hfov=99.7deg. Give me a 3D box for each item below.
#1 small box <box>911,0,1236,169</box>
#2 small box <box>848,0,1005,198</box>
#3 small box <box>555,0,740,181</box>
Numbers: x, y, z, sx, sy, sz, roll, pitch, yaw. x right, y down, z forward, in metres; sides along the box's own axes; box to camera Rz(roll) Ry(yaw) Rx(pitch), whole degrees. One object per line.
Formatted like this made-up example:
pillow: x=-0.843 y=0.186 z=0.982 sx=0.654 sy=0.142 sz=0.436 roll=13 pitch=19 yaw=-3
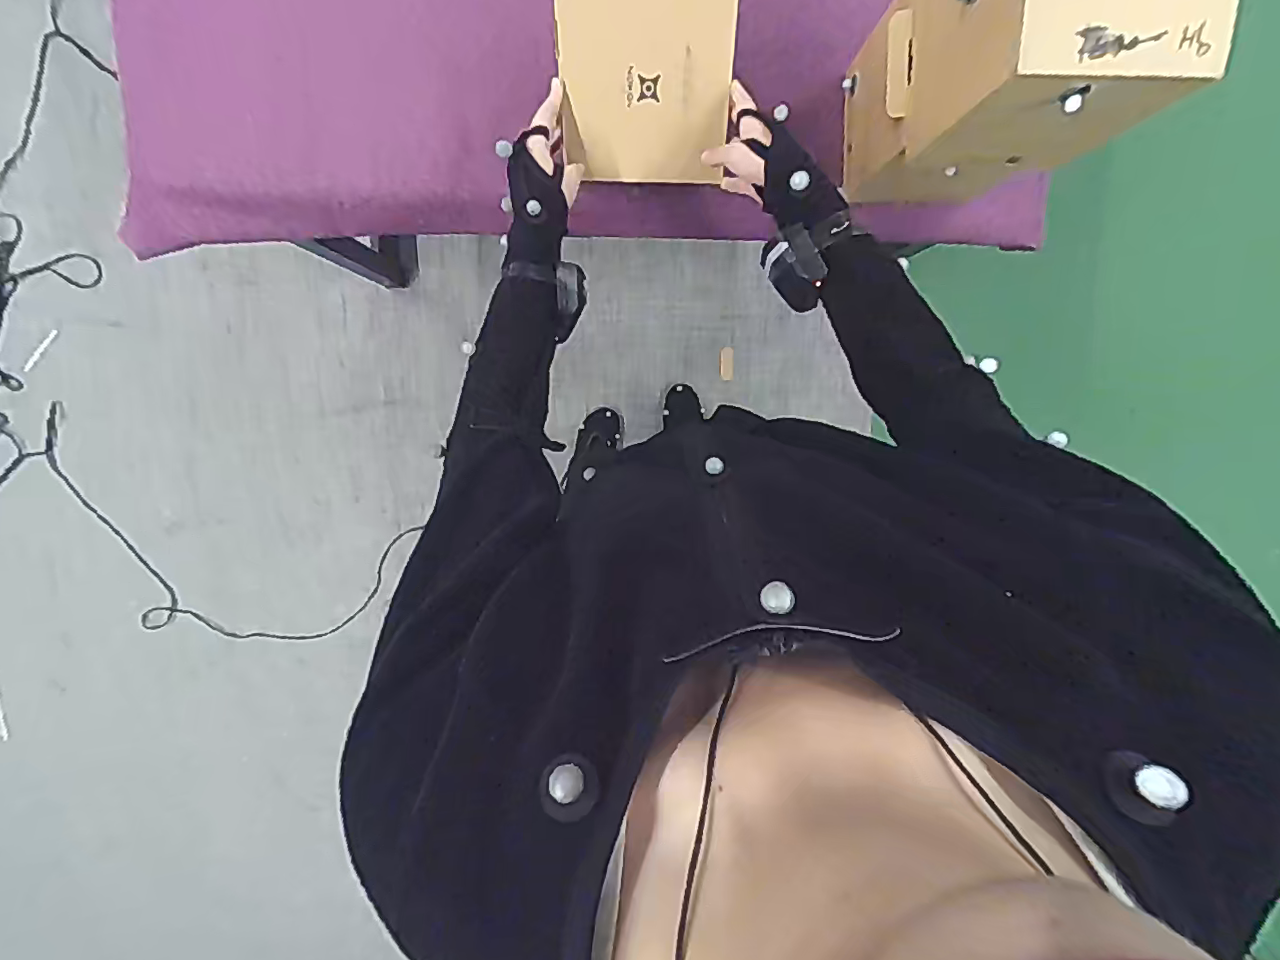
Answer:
small box: x=0.364 y=-0.407 z=0.480 sx=0.168 sy=0.176 sz=0.179 roll=0 pitch=98 yaw=-1
small box: x=0.362 y=-0.450 z=0.639 sx=0.179 sy=0.176 sz=0.168 roll=-2 pitch=99 yaw=-1
small box: x=0.004 y=-0.435 z=0.610 sx=0.179 sy=0.176 sz=0.168 roll=1 pitch=120 yaw=-2
